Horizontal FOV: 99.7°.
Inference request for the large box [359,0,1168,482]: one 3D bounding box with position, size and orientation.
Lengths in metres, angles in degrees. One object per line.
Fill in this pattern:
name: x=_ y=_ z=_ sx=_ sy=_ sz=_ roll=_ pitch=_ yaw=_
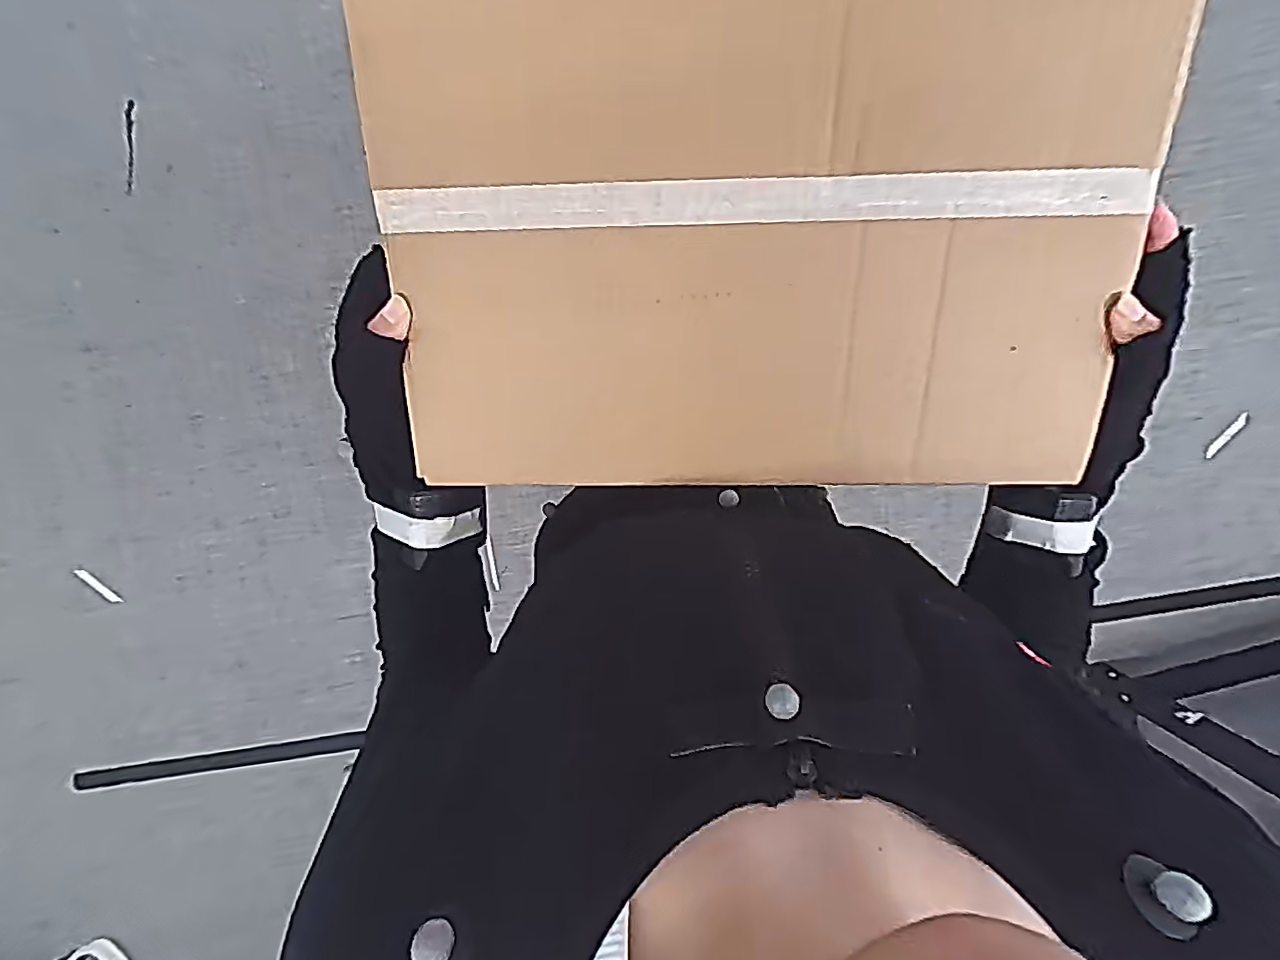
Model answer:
large box: x=0.061 y=-0.194 z=0.437 sx=0.408 sy=0.320 sz=0.320 roll=0 pitch=109 yaw=2
